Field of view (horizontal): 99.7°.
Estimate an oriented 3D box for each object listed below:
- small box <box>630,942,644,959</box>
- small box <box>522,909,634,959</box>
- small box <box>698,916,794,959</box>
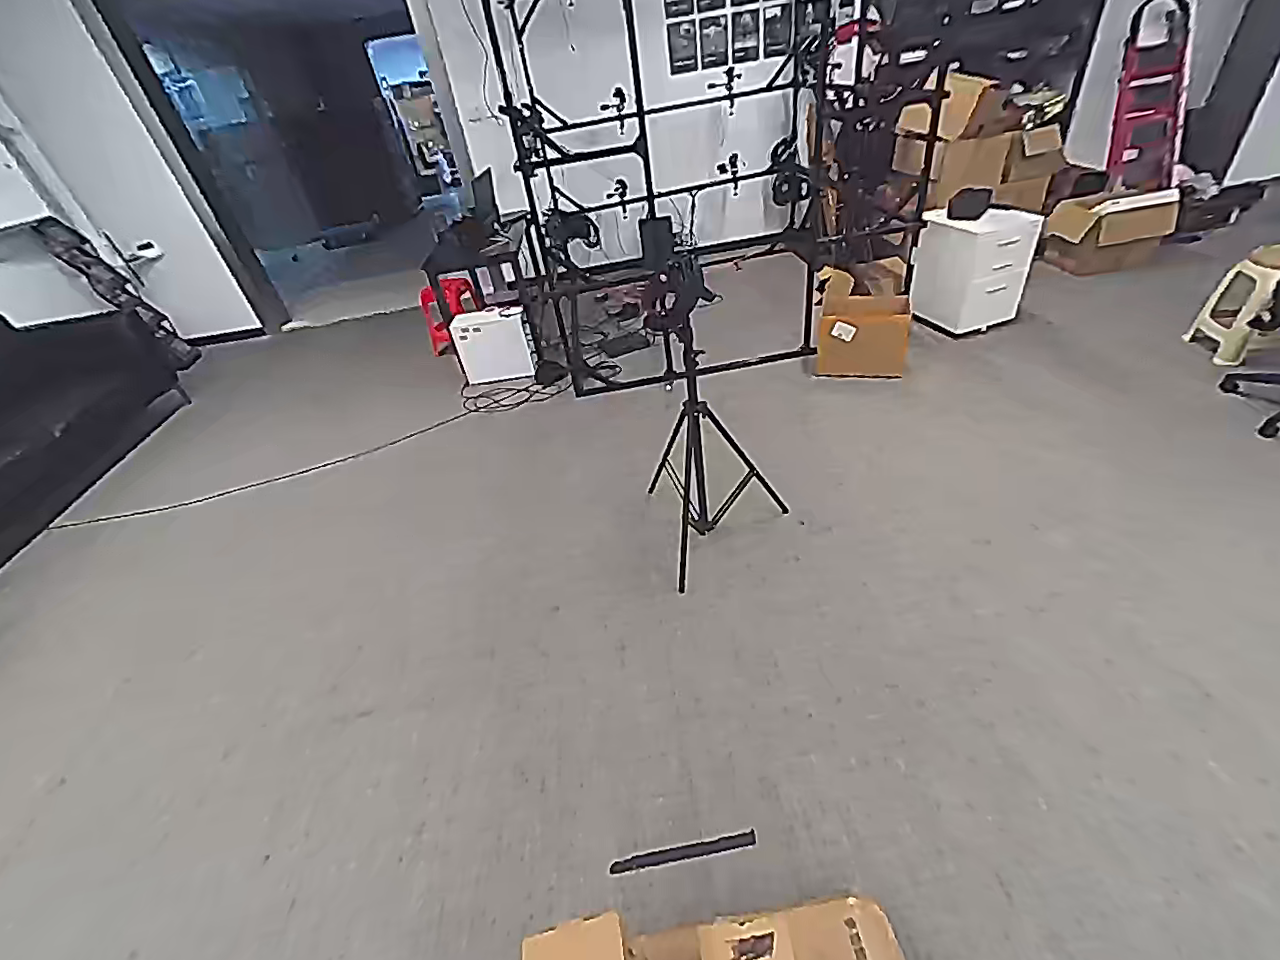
[{"bbox_3d":[-0.065,0.974,0.974,0.168,0.176,0.179,-9,37,1],"label":"small box"},{"bbox_3d":[-0.089,0.846,0.876,0.168,0.176,0.179,-13,38,-5],"label":"small box"},{"bbox_3d":[0.200,0.929,0.978,0.168,0.176,0.179,-8,37,3],"label":"small box"}]
